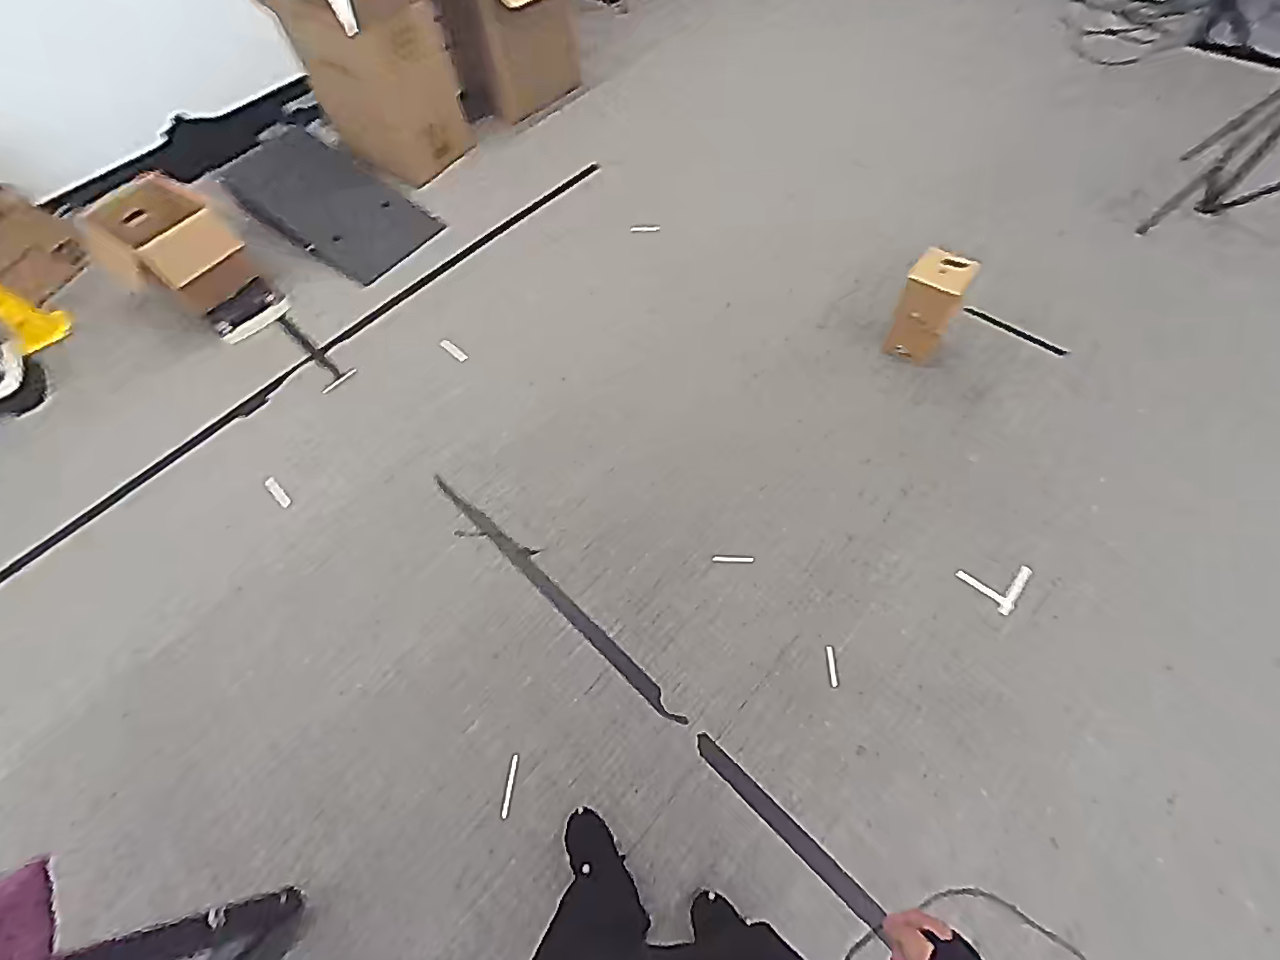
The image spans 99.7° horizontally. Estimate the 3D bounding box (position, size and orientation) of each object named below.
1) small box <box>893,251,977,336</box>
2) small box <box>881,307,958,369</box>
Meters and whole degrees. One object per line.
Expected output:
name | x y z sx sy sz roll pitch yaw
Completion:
small box | 0.972 -0.616 1.797 0.168 0.176 0.179 33 69 21
small box | 0.992 -0.535 1.938 0.168 0.176 0.179 32 68 20
